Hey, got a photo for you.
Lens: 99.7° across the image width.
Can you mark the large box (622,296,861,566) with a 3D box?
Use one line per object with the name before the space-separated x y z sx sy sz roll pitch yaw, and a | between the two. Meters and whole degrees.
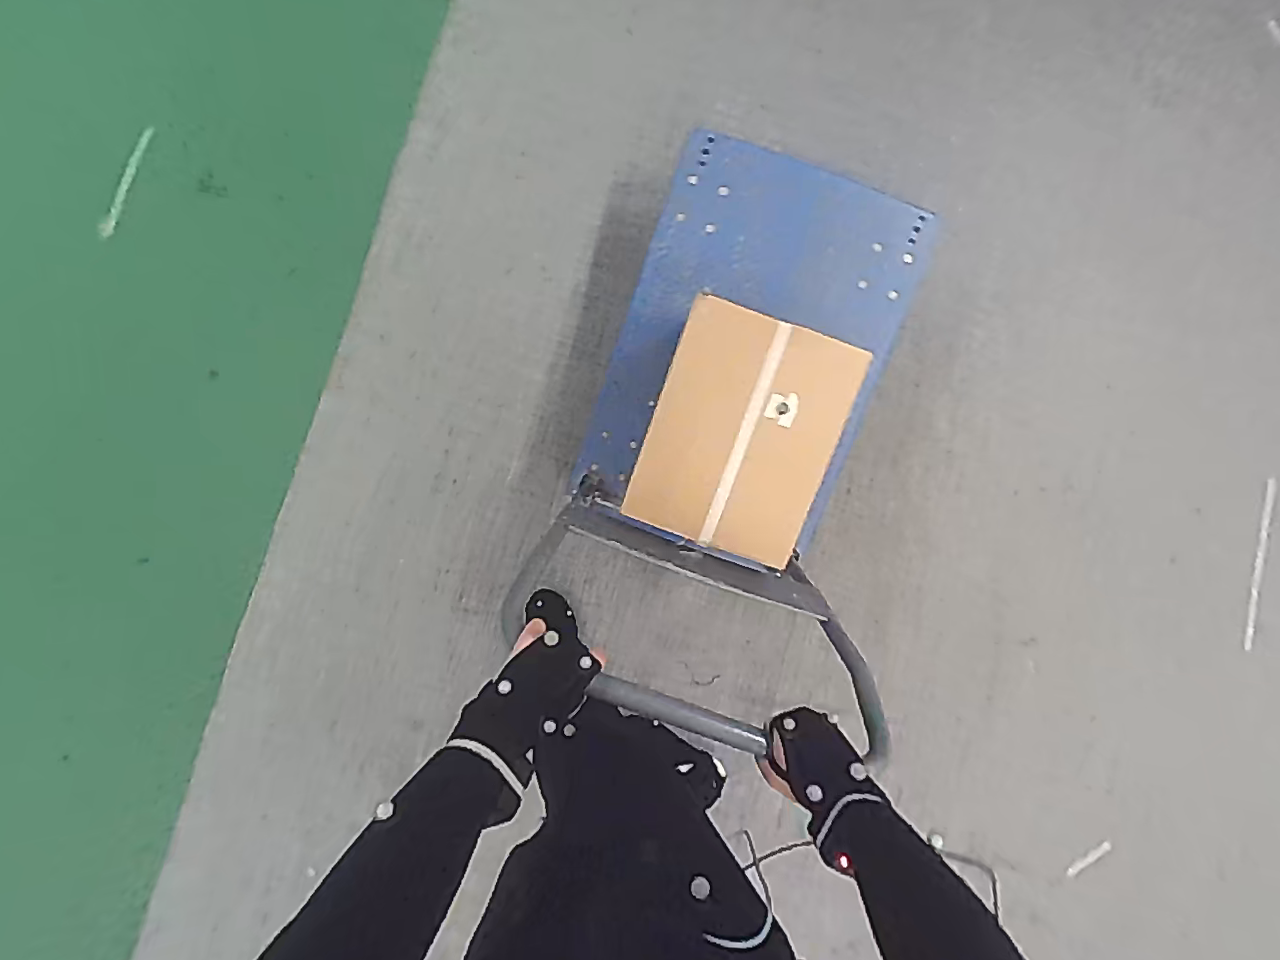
large box | 0.177 -0.094 1.081 0.320 0.320 0.408 19 97 -1
